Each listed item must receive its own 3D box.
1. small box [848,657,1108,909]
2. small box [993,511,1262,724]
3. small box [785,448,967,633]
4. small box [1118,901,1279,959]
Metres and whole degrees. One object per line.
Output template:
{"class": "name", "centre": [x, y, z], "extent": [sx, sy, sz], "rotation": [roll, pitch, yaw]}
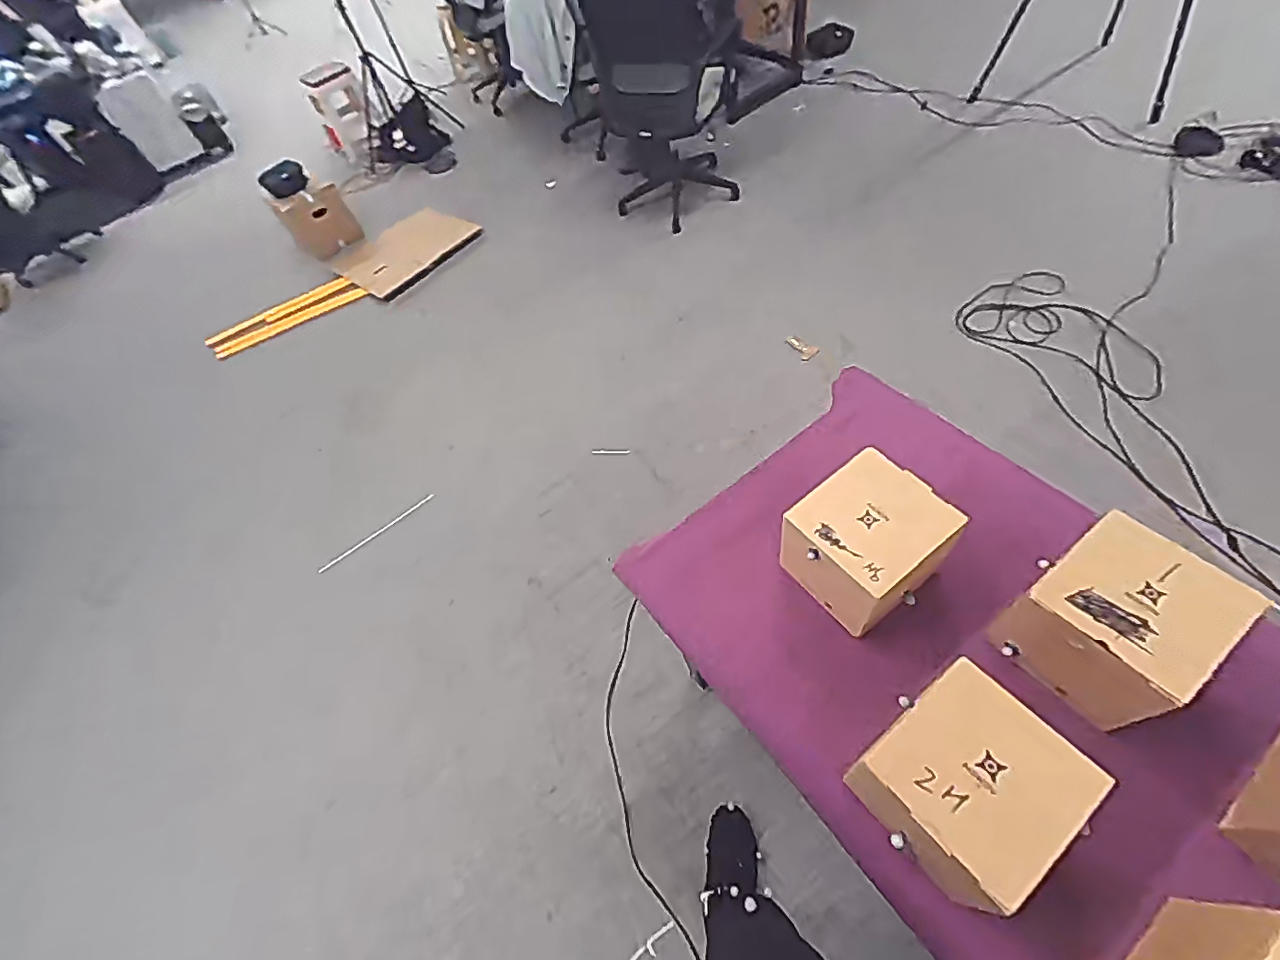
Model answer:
{"class": "small box", "centre": [0.366, 0.343, 0.626], "extent": [0.179, 0.176, 0.168], "rotation": [-37, 57, -13]}
{"class": "small box", "centre": [0.591, 0.180, 0.688], "extent": [0.179, 0.176, 0.168], "rotation": [-36, 57, -13]}
{"class": "small box", "centre": [0.330, 0.093, 0.798], "extent": [0.179, 0.176, 0.168], "rotation": [-35, 55, -12]}
{"class": "small box", "centre": [0.555, 0.514, 0.475], "extent": [0.179, 0.176, 0.168], "rotation": [-36, 57, -13]}
